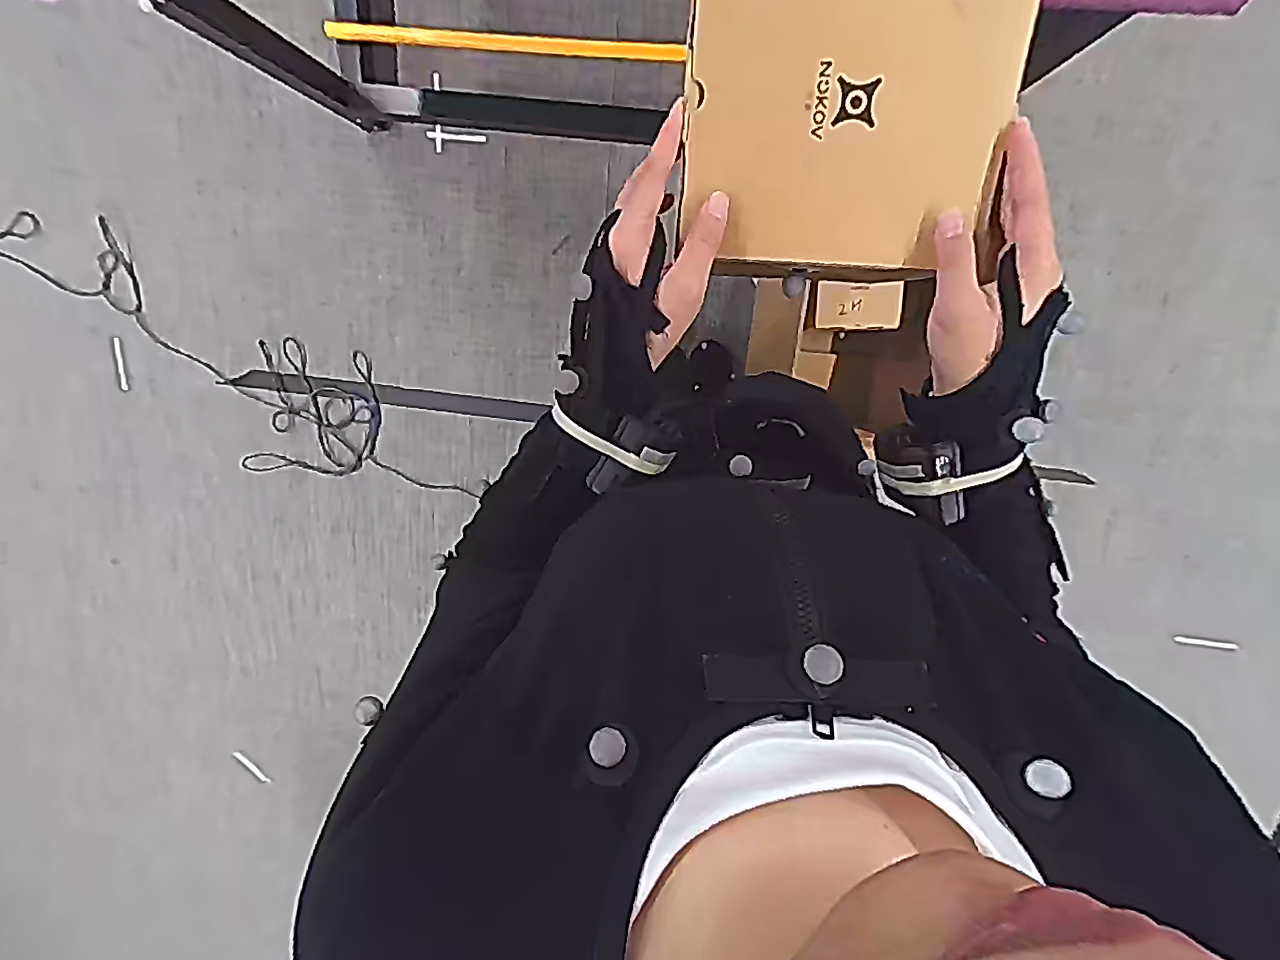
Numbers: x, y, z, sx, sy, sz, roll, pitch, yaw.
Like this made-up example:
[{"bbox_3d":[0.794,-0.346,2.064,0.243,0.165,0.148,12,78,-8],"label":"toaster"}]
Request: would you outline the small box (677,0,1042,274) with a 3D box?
[{"bbox_3d":[0.118,-0.232,0.363,0.179,0.176,0.168,4,109,3],"label":"small box"}]
